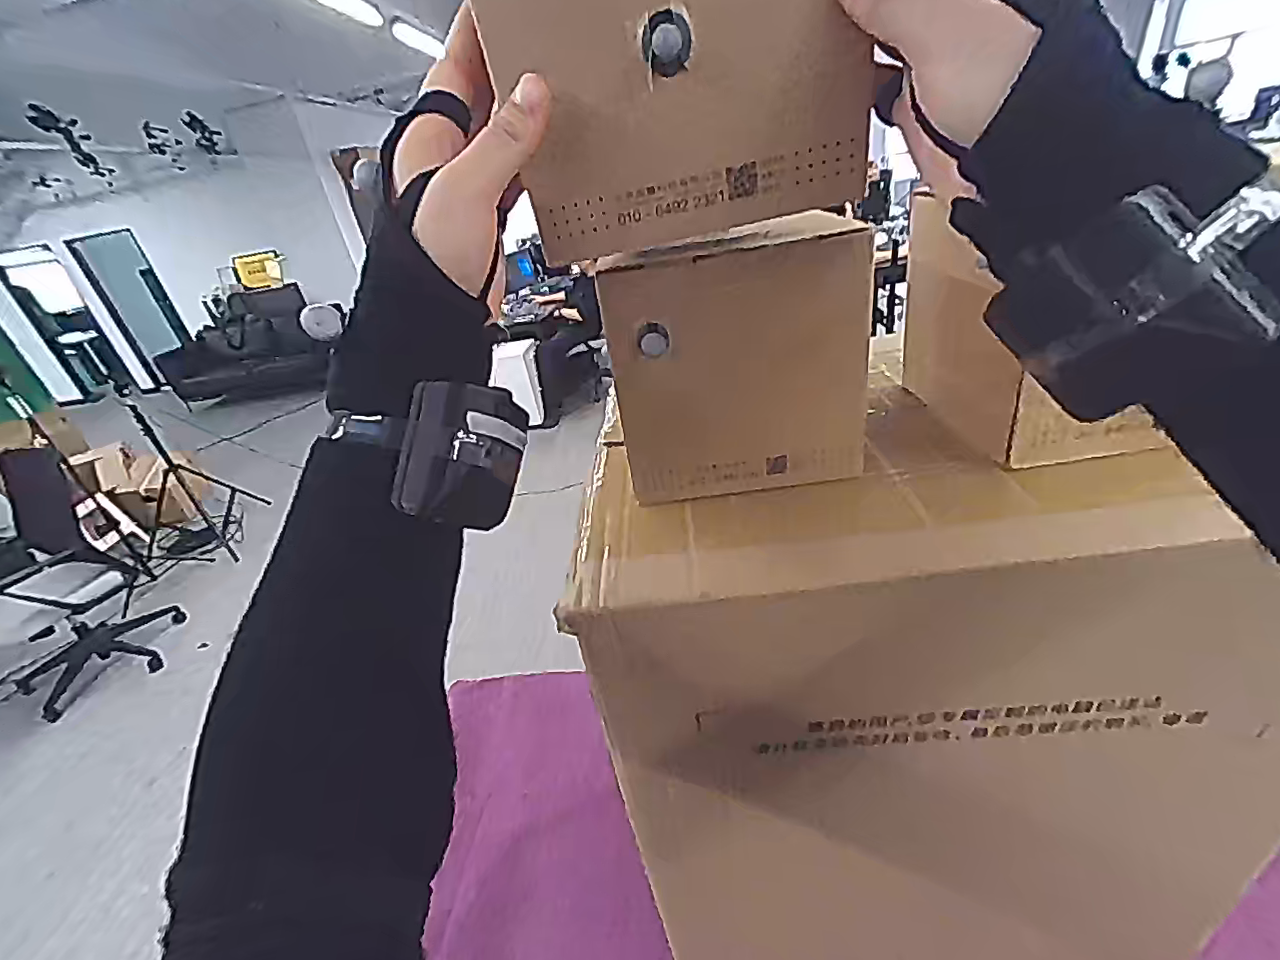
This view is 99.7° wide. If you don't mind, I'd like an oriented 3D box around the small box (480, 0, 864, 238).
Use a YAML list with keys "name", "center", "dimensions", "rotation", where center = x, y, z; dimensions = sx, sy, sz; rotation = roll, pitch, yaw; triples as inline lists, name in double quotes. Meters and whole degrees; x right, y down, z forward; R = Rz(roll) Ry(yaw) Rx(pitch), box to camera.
- name: "small box"
  center: [0.015, -0.246, 0.295]
  dimensions: [0.168, 0.176, 0.179]
  rotation: [-9, 36, 5]

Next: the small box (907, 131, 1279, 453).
- name: "small box"
  center: [0.313, -0.138, 0.394]
  dimensions: [0.168, 0.176, 0.179]
  rotation: [-9, 30, 5]
